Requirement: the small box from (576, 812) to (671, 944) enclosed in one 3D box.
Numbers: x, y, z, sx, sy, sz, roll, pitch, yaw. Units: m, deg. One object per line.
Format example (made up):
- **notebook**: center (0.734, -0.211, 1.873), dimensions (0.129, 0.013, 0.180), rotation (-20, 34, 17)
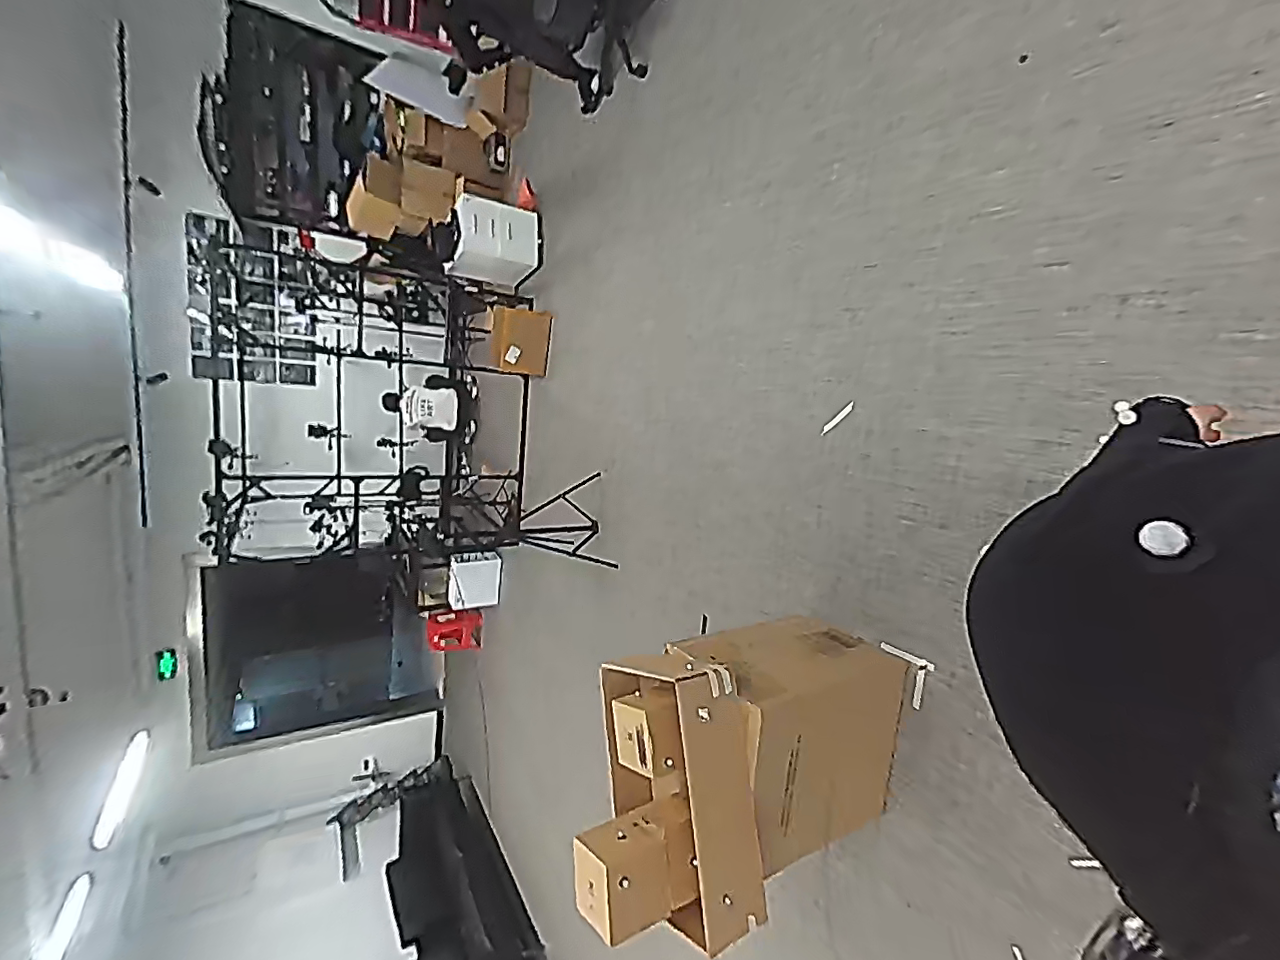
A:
- **small box**: center (-0.040, 0.944, 1.306), dimensions (0.168, 0.176, 0.179), rotation (-11, 82, 56)
